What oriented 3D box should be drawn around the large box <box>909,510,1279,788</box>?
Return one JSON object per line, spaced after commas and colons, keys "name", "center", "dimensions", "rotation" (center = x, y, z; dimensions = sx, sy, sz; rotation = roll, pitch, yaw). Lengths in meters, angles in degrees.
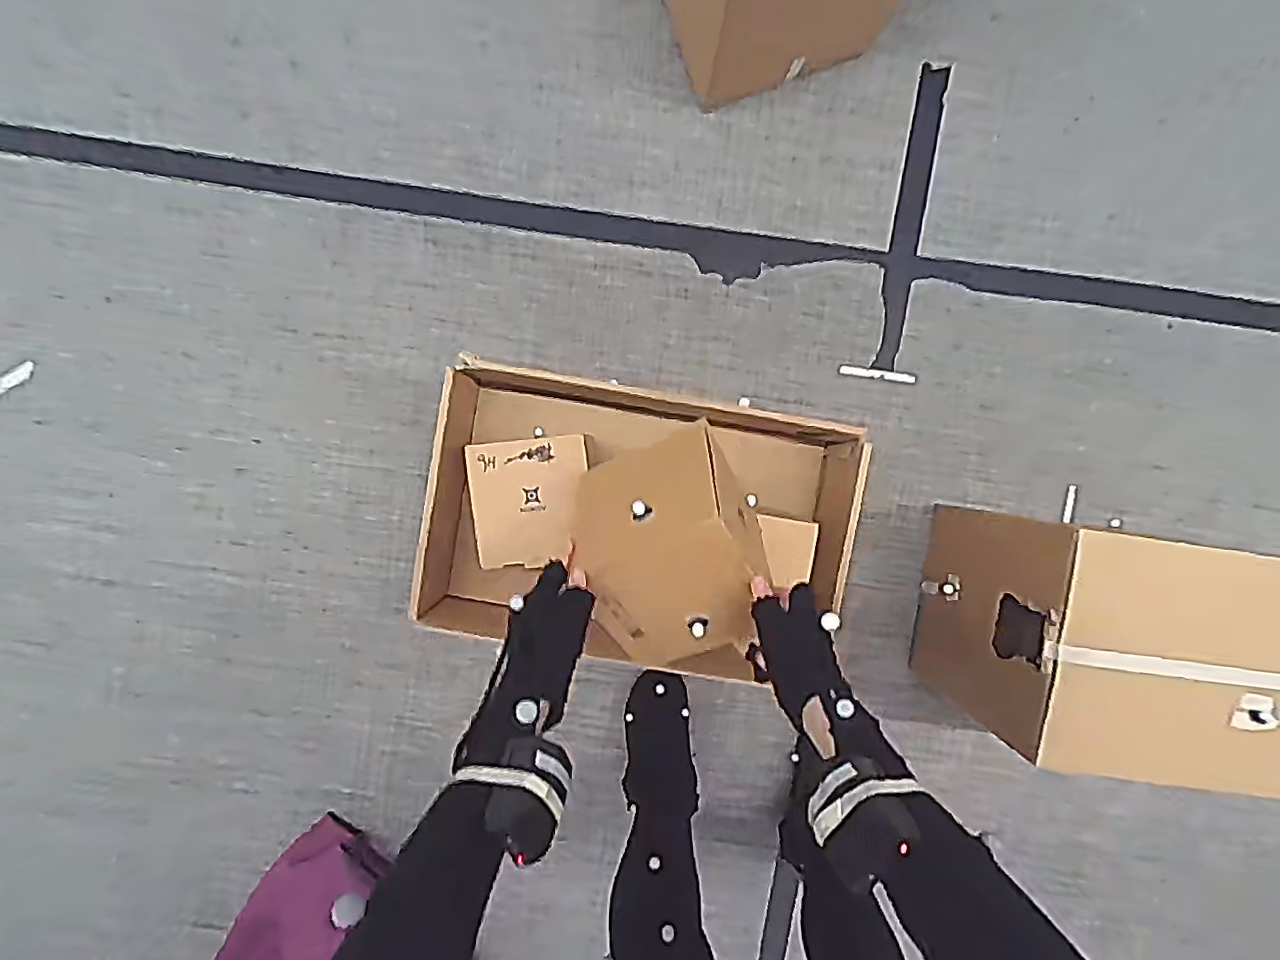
{"name": "large box", "center": [0.704, 0.229, 0.843], "dimensions": [0.408, 0.320, 0.320], "rotation": [8, 93, -3]}
